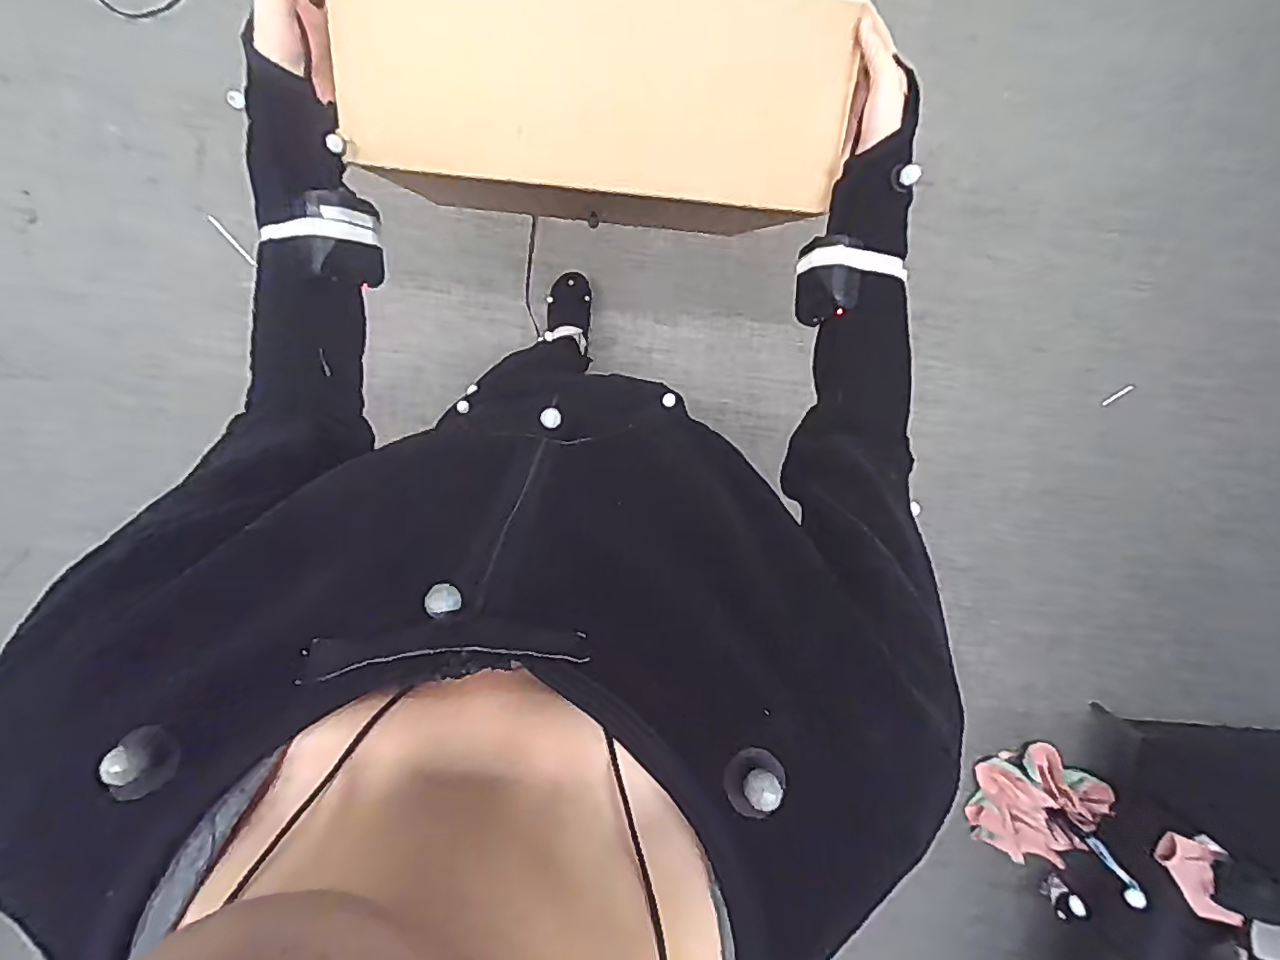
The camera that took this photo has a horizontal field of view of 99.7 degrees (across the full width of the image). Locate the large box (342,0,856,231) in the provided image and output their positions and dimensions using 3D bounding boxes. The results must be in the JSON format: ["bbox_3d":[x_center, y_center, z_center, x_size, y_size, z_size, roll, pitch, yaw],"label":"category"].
[{"bbox_3d":[-0.036,-0.442,0.550,0.408,0.320,0.320,2,110,-7],"label":"large box"}]
